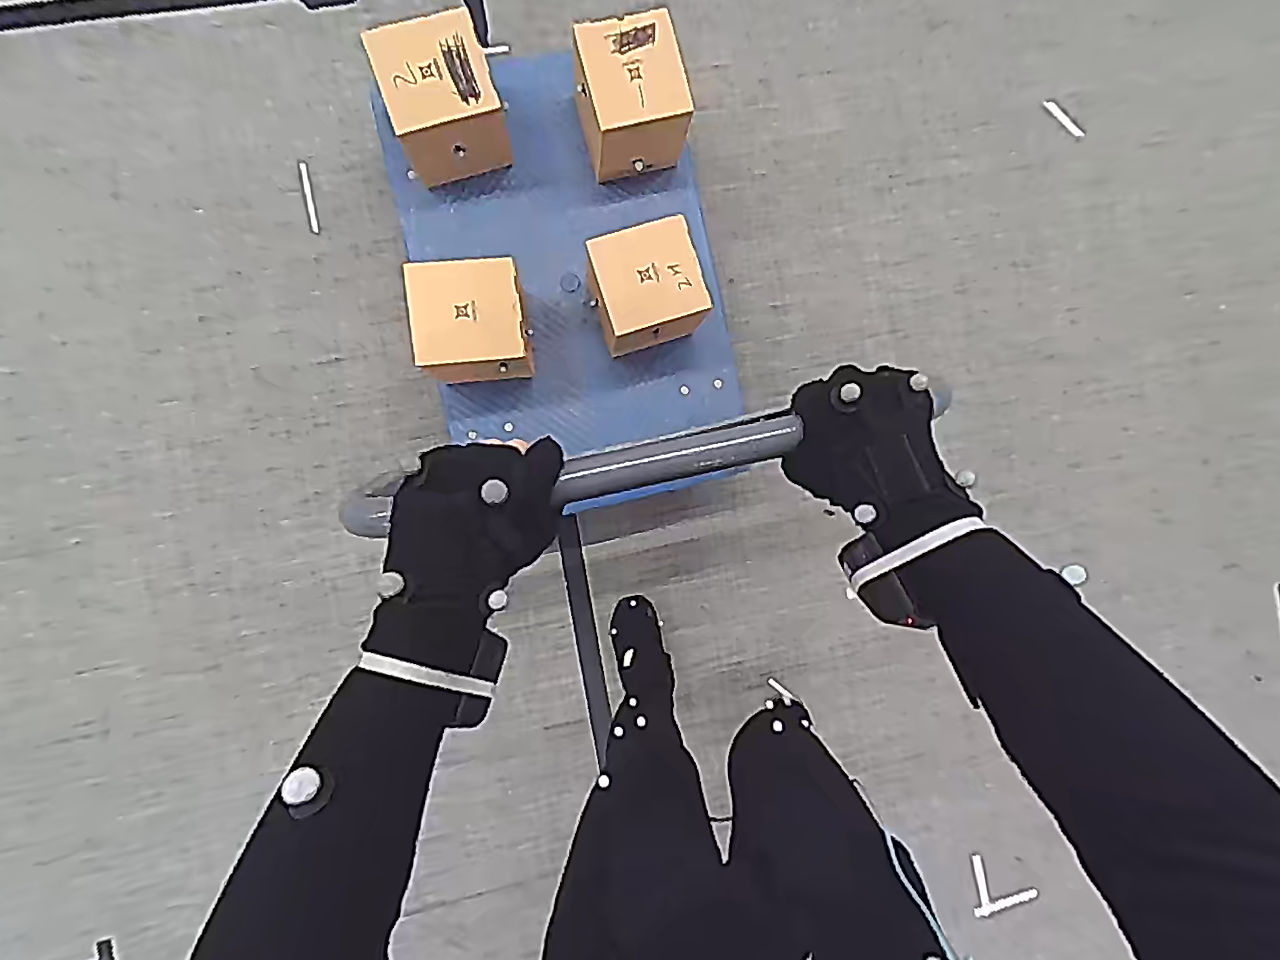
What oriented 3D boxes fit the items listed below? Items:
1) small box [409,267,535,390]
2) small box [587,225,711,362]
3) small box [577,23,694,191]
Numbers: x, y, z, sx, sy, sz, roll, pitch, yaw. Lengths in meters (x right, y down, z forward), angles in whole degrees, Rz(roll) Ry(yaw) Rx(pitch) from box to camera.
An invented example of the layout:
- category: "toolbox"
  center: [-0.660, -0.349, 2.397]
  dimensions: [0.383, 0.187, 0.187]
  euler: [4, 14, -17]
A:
- category: "small box"
  center: [-0.287, -0.259, 0.956]
  dimensions: [0.179, 0.176, 0.168]
  euler: [-7, 91, -7]
- category: "small box"
  center: [0.010, -0.329, 0.987]
  dimensions: [0.179, 0.176, 0.168]
  euler: [-18, 92, -5]
- category: "small box"
  center: [-0.016, -0.666, 0.982]
  dimensions: [0.168, 0.176, 0.179]
  euler: [-16, 93, -6]
